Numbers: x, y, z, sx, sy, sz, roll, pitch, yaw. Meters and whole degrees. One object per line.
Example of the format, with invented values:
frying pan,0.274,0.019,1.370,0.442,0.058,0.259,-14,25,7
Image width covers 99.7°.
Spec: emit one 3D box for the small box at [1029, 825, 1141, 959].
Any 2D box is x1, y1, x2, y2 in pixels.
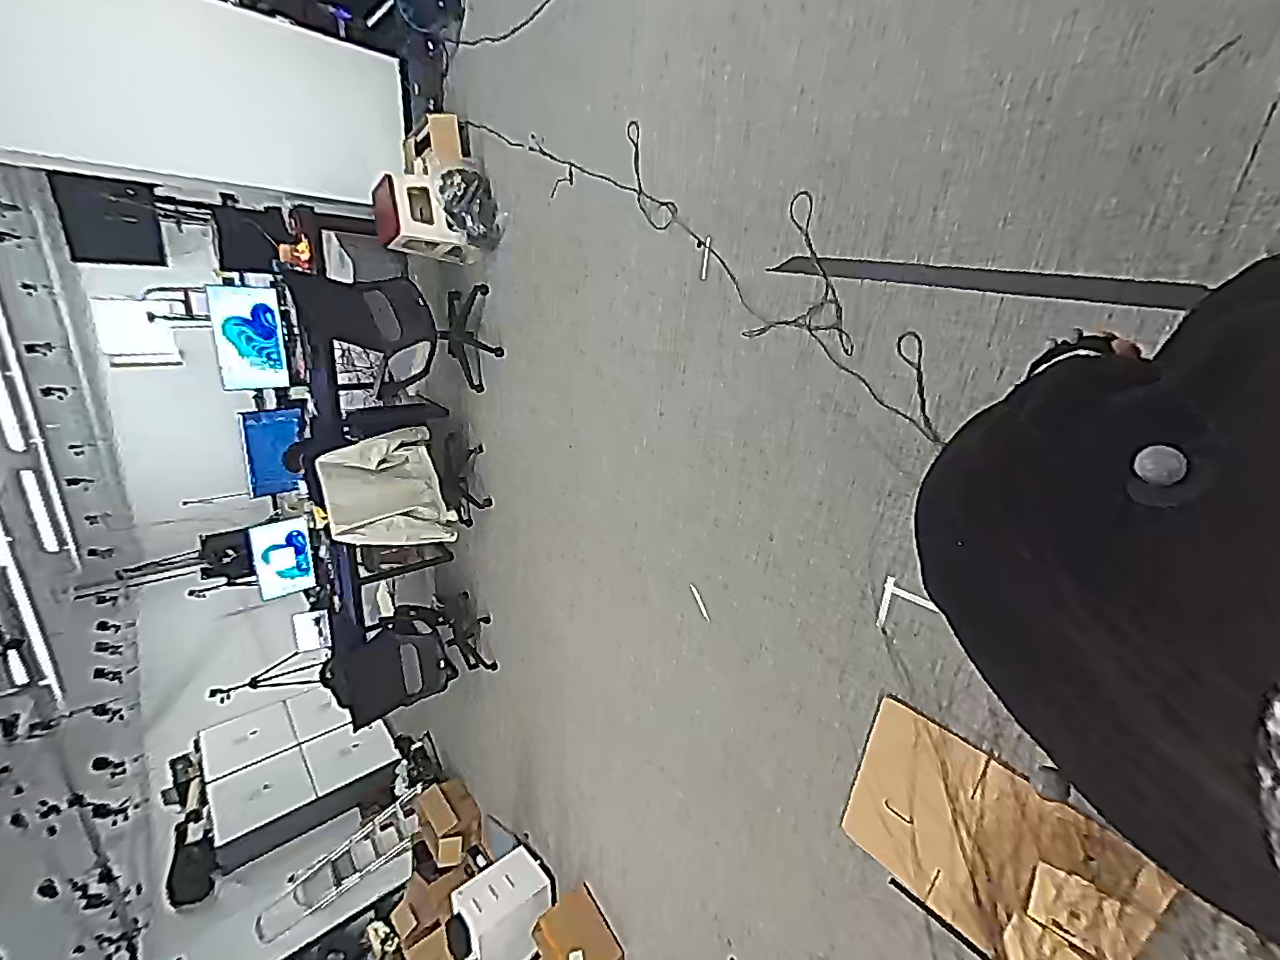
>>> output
small box,1.044,0.964,1.266,0.168,0.176,0.179,15,111,46
